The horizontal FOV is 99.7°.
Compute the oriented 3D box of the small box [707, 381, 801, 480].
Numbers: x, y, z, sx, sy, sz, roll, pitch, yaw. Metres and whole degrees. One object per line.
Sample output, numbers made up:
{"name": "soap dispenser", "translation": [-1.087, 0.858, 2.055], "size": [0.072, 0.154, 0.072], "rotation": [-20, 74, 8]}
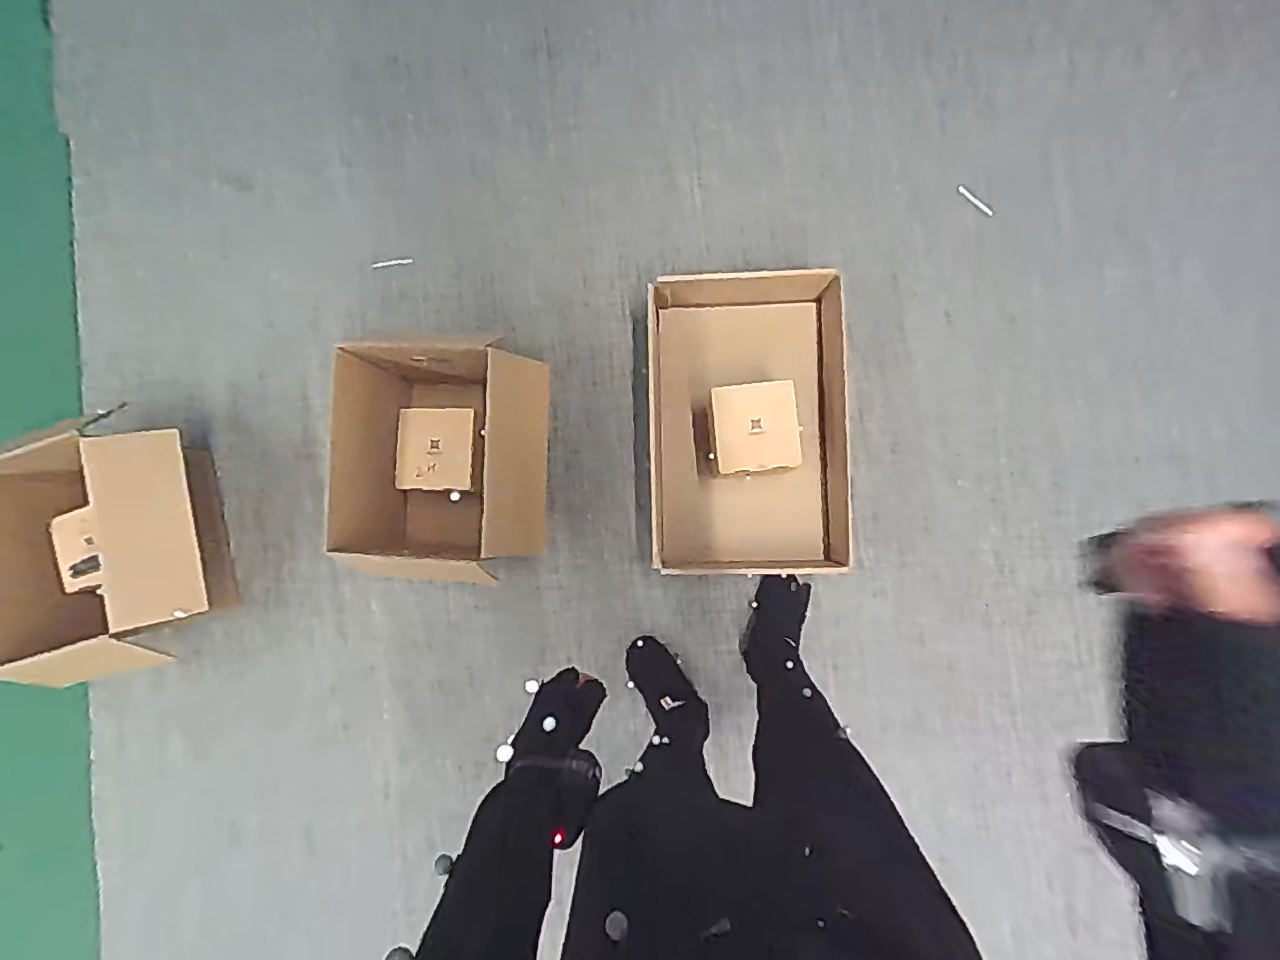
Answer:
{"name": "small box", "translation": [0.234, -0.098, 1.148], "size": [0.168, 0.176, 0.179], "rotation": [-6, 86, 4]}
